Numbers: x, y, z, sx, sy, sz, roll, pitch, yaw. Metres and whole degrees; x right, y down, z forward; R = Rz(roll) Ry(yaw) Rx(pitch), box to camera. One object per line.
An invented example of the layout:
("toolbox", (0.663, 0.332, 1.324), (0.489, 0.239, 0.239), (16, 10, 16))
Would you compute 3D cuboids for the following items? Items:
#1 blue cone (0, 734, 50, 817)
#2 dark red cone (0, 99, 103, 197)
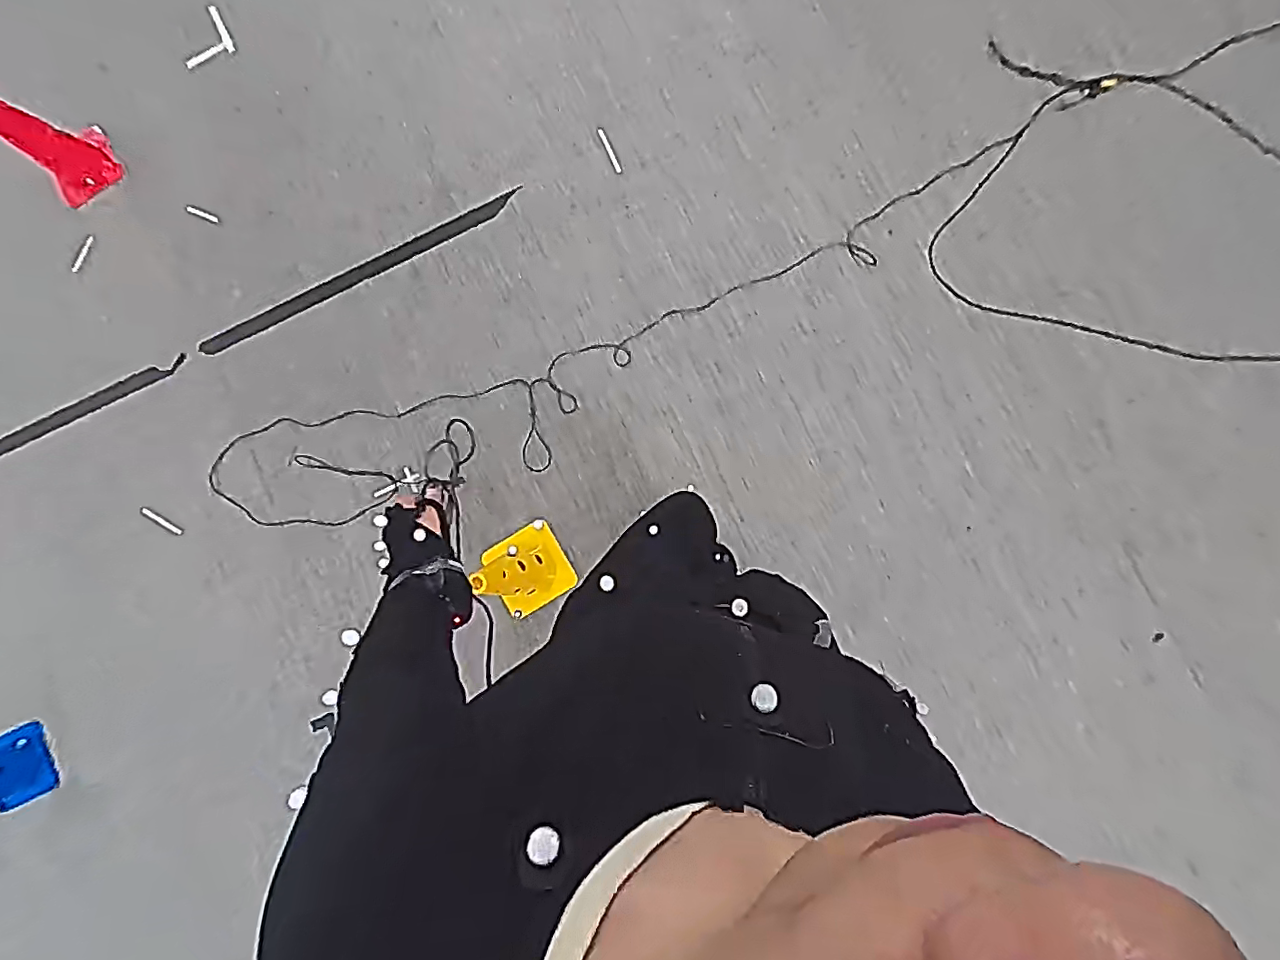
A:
("blue cone", (-1.737, 0.799, 1.321), (0.193, 0.380, 0.192), (-24, 85, 3))
("dark red cone", (-1.698, -0.959, 1.420), (0.202, 0.394, 0.201), (-32, 85, 2))
